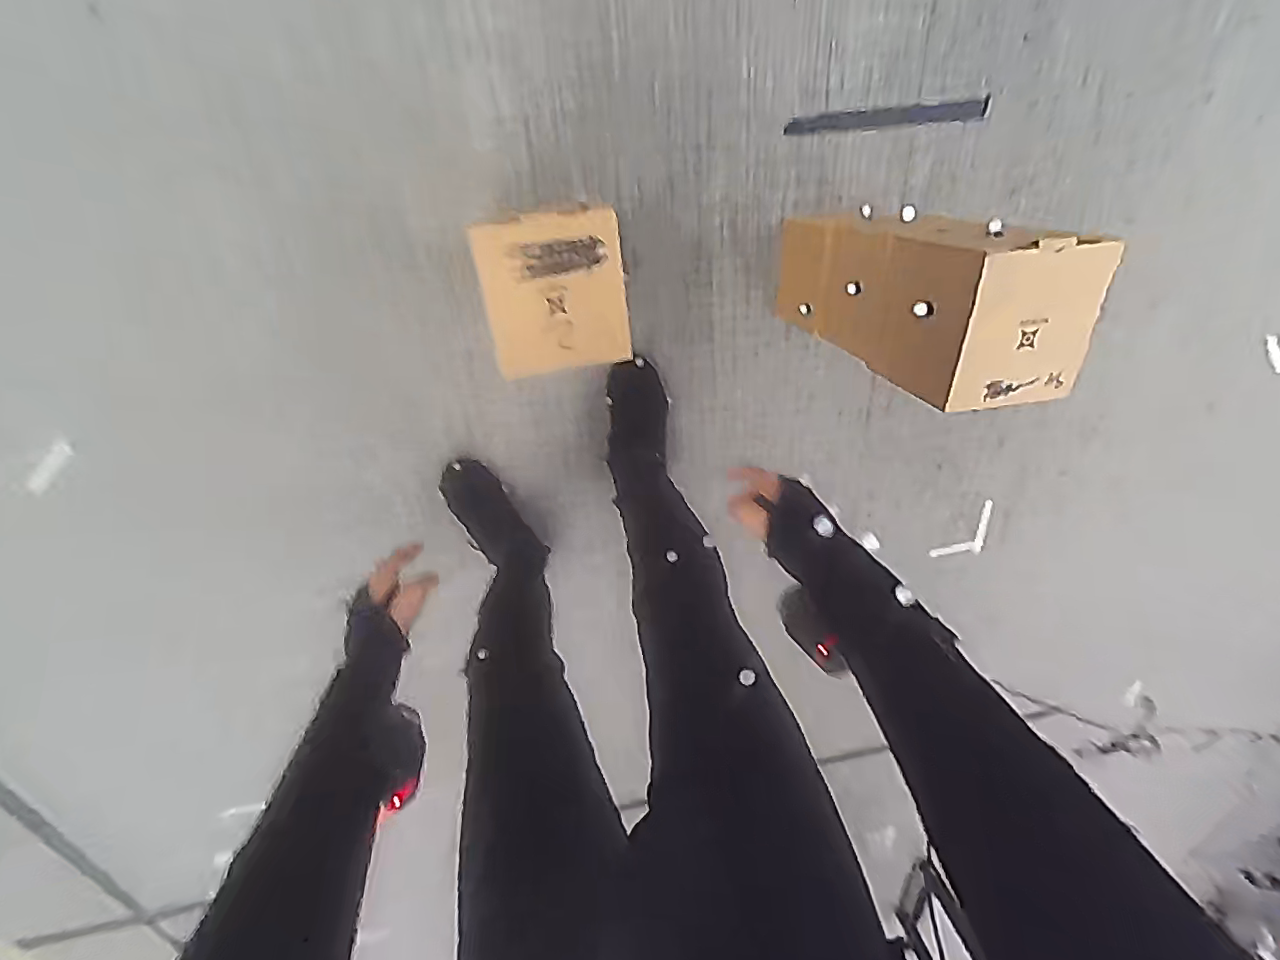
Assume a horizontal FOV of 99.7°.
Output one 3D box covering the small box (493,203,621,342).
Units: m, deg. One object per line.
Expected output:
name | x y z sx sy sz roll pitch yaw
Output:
small box | -0.130 -0.334 0.855 0.168 0.176 0.179 -10 120 -5

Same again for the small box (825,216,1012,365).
small box | 0.393 -0.285 0.799 0.168 0.176 0.179 -7 120 -8

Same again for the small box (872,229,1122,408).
small box | 0.408 -0.204 0.656 0.168 0.176 0.179 -7 120 -8

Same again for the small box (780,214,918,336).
small box | 0.356 -0.362 0.940 0.168 0.176 0.179 -7 121 -8
